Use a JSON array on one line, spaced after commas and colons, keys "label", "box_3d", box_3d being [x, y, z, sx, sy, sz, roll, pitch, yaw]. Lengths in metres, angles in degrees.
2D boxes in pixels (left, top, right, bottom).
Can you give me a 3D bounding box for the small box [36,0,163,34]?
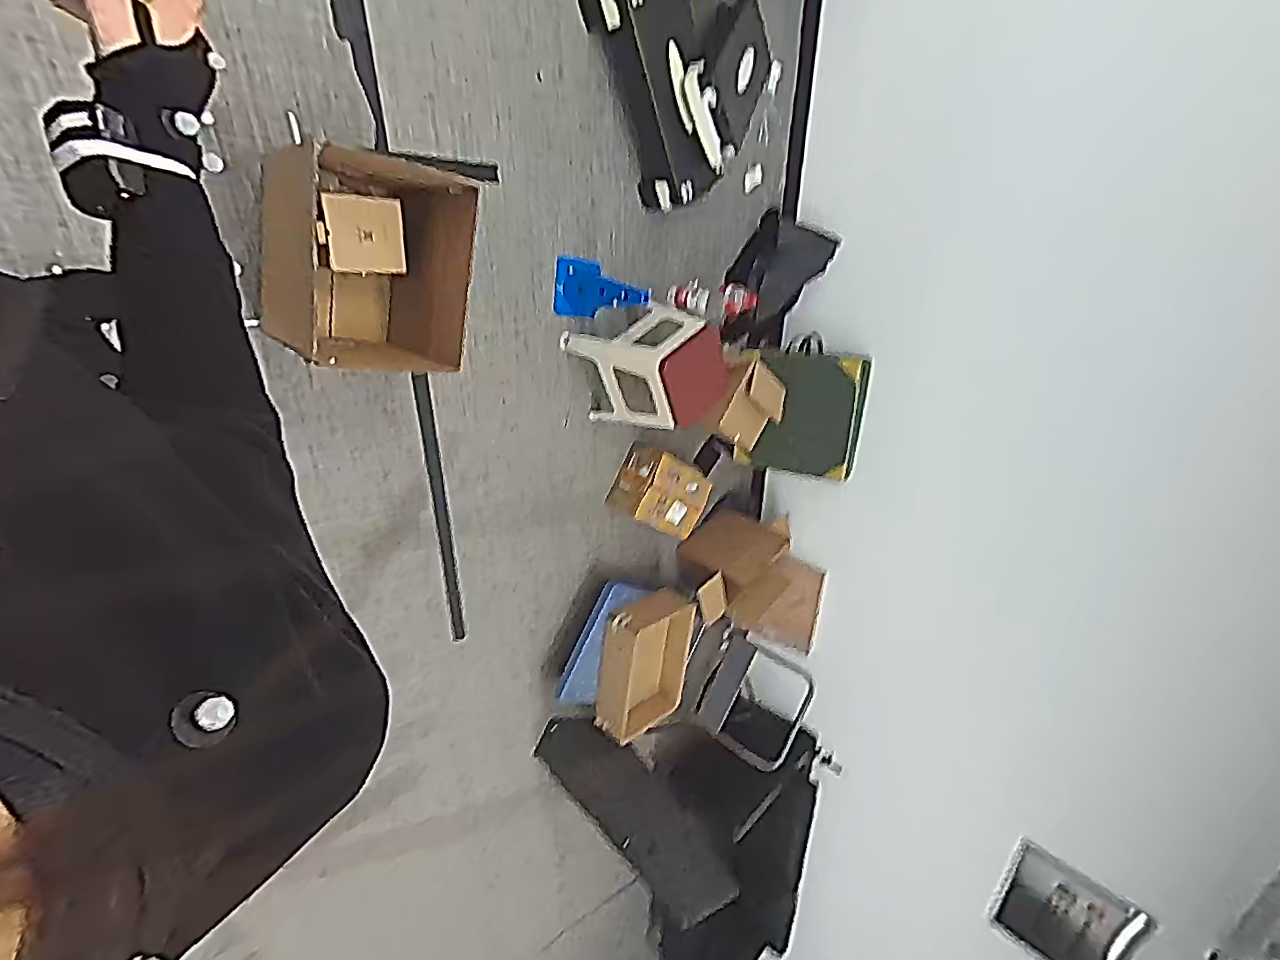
[{"label": "small box", "box_3d": [-0.462, -0.475, 0.395, 0.168, 0.176, 0.179, 7, 109, -55]}]
